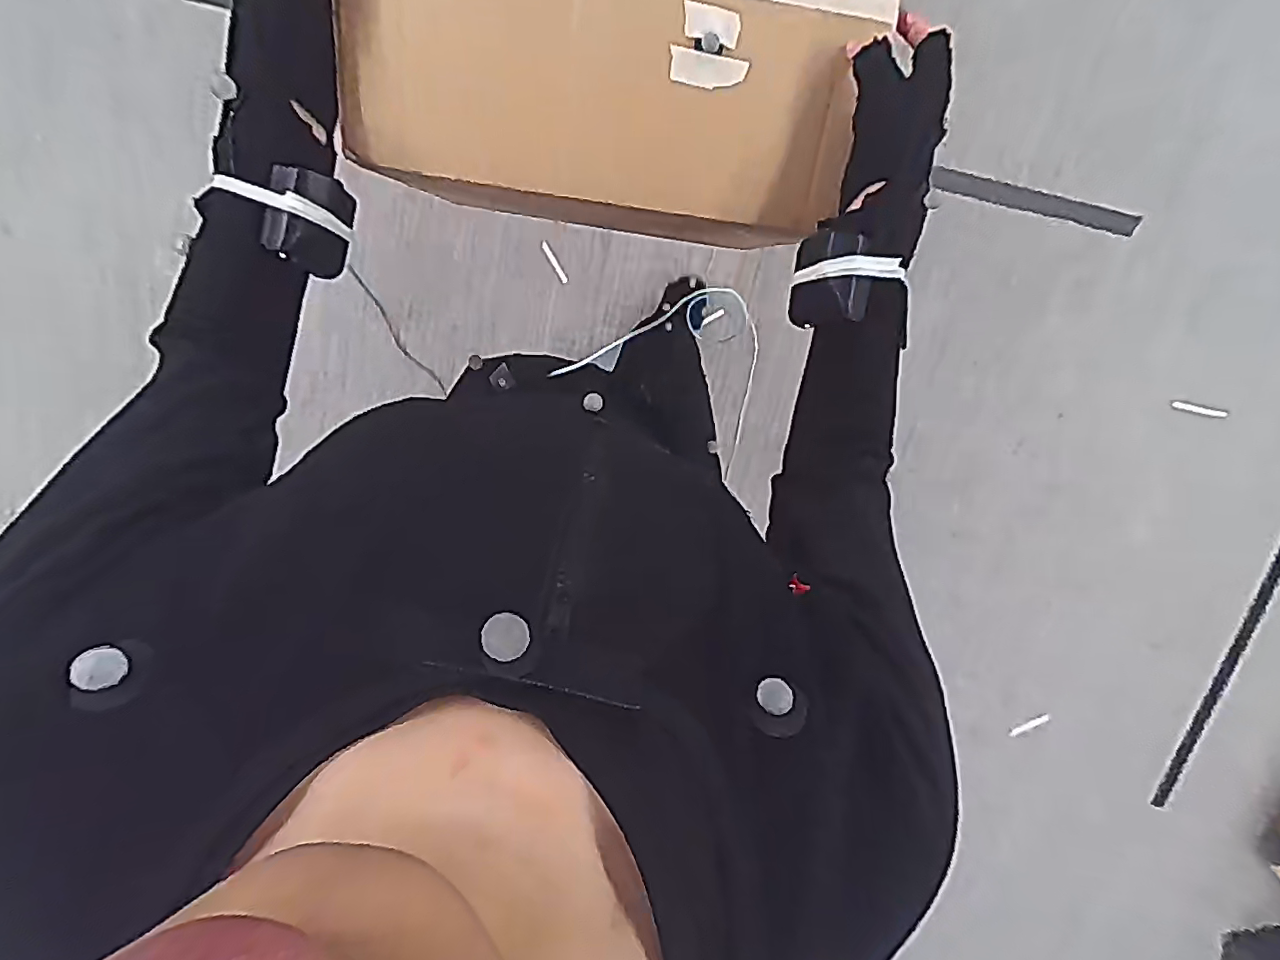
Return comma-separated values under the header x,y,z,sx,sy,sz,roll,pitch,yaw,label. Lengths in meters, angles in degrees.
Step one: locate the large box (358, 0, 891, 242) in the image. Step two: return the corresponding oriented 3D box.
x,y,z,sx,sy,sz,roll,pitch,yaw,label
-0.015,-0.433,0.536,0.408,0.320,0.320,6,111,-6,large box
